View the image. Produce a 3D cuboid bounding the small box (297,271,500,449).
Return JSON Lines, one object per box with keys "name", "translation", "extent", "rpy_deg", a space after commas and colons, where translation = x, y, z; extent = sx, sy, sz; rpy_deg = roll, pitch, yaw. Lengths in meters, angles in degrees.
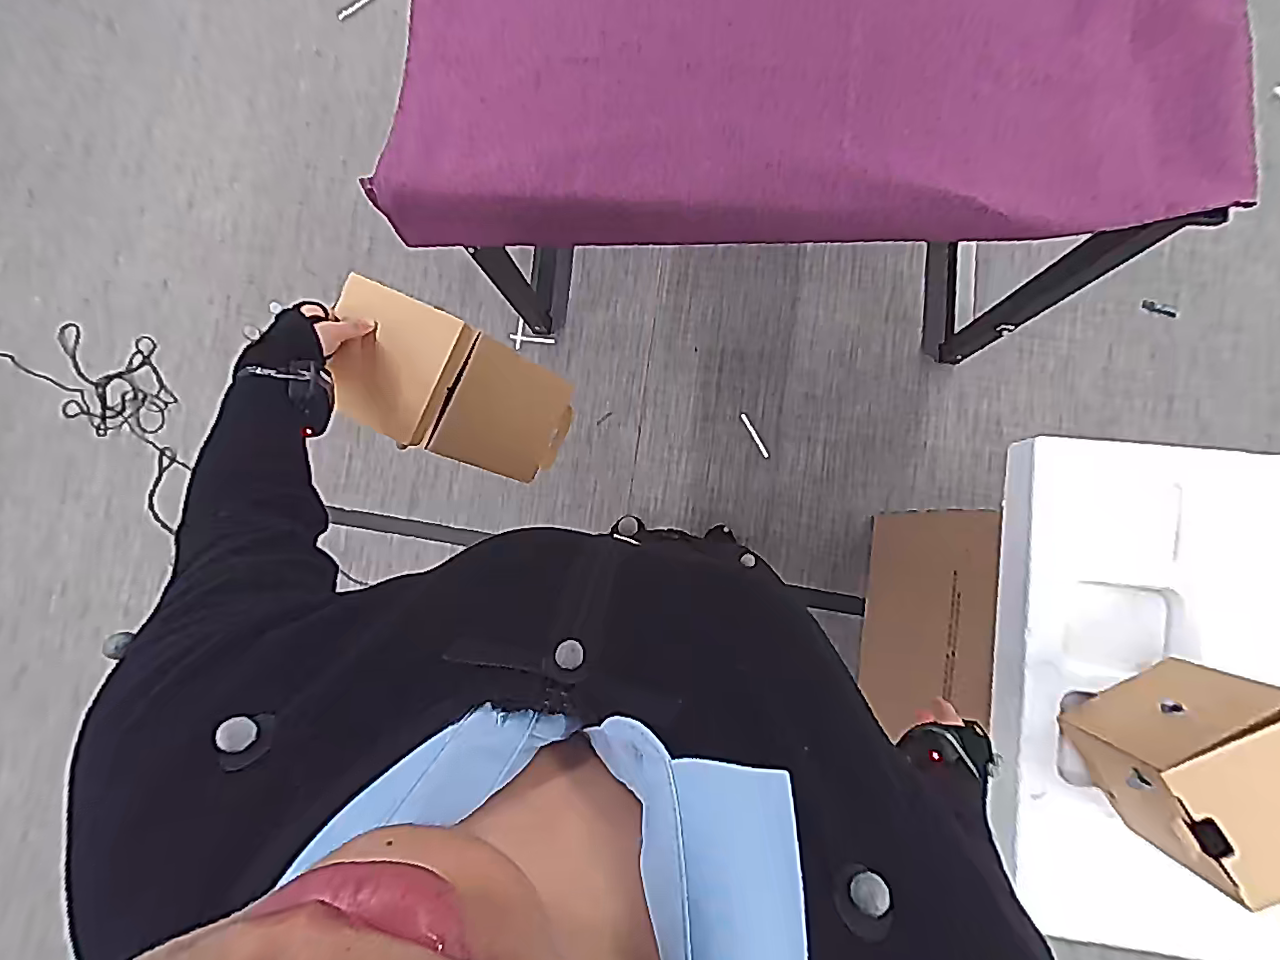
{"name": "small box", "translation": [-0.315, -0.153, 0.749], "extent": [0.179, 0.176, 0.168], "rpy_deg": [25, 90, -4]}
